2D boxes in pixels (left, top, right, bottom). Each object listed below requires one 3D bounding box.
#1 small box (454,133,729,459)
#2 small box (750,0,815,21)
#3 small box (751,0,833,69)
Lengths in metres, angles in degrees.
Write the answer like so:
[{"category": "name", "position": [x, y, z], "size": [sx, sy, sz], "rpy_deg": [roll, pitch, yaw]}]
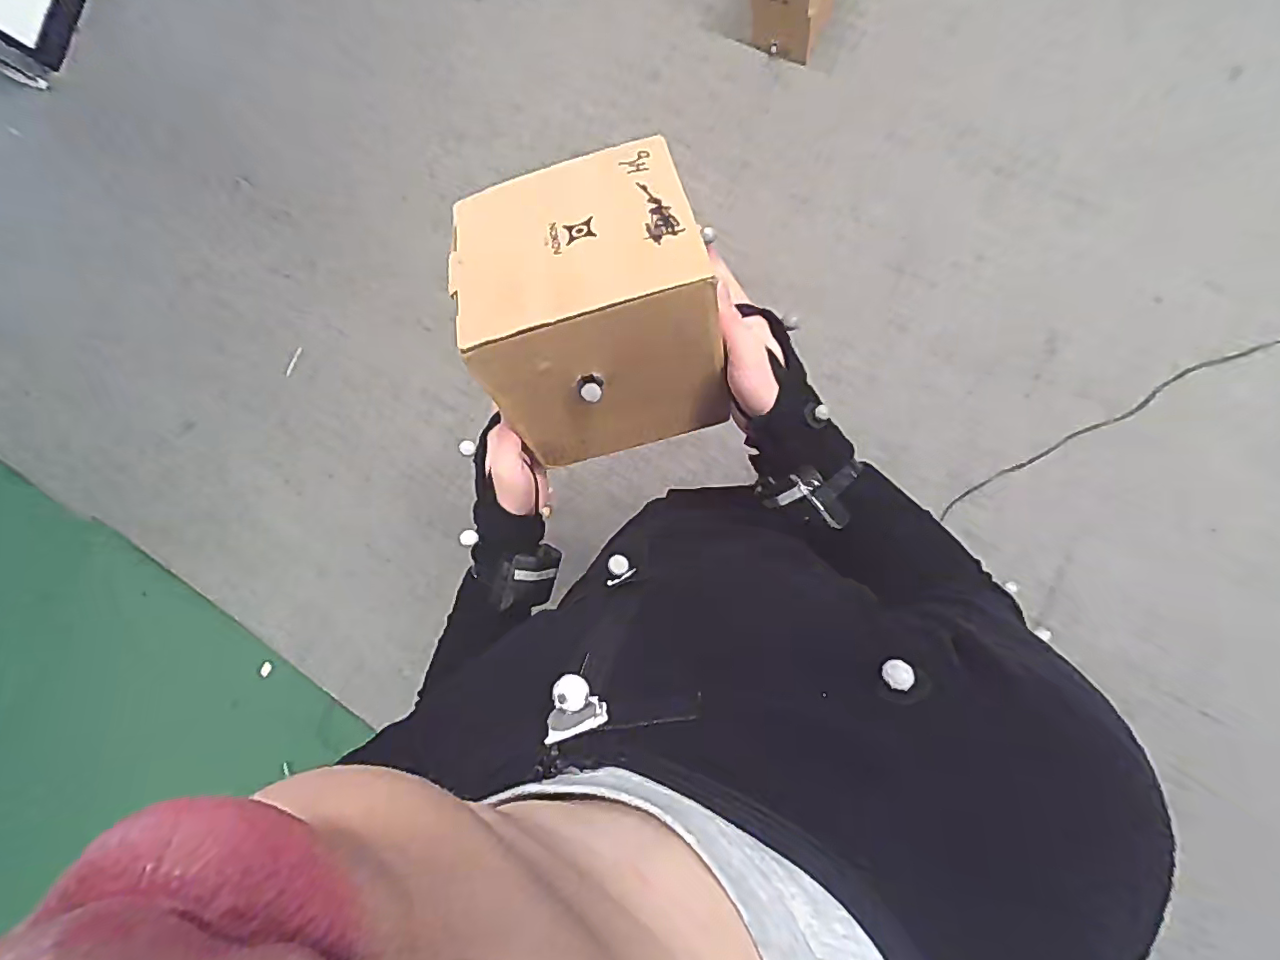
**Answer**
[{"category": "small box", "position": [-0.034, -0.138, 0.452], "size": [0.179, 0.176, 0.168], "rpy_deg": [-15, 61, 5]}, {"category": "small box", "position": [0.357, -1.242, 1.259], "size": [0.168, 0.176, 0.179], "rpy_deg": [29, 96, 11]}, {"category": "small box", "position": [0.401, -1.242, 1.418], "size": [0.168, 0.176, 0.179], "rpy_deg": [27, 97, 12]}]
